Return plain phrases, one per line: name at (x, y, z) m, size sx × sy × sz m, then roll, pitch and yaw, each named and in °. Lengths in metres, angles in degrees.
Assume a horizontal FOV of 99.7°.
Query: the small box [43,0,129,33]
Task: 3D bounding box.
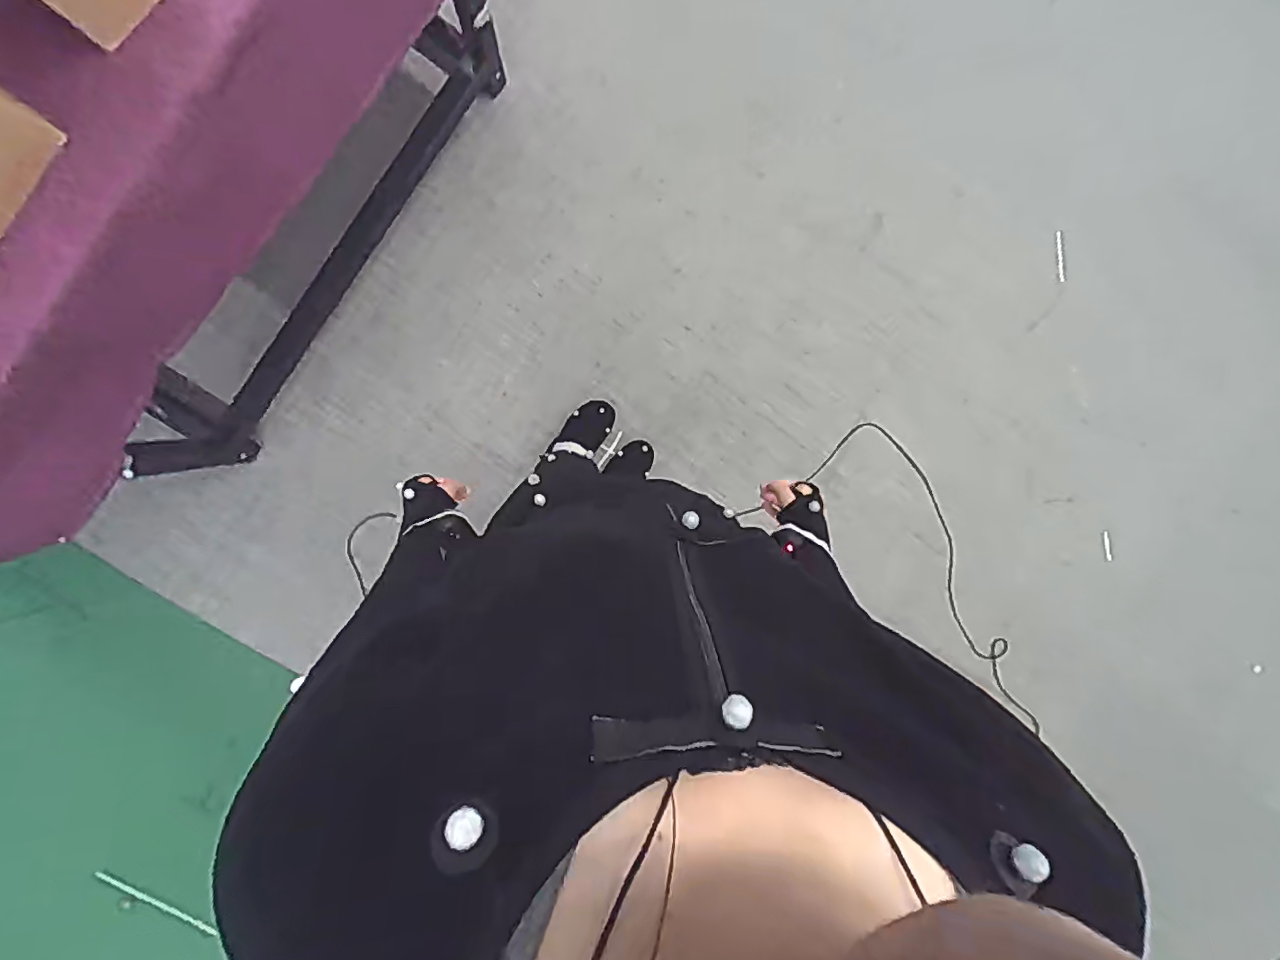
small box at (-0.629, -0.621, 0.543) m, size 0.168 × 0.176 × 0.179 m, roll 43°, pitch 91°, yaw -9°
